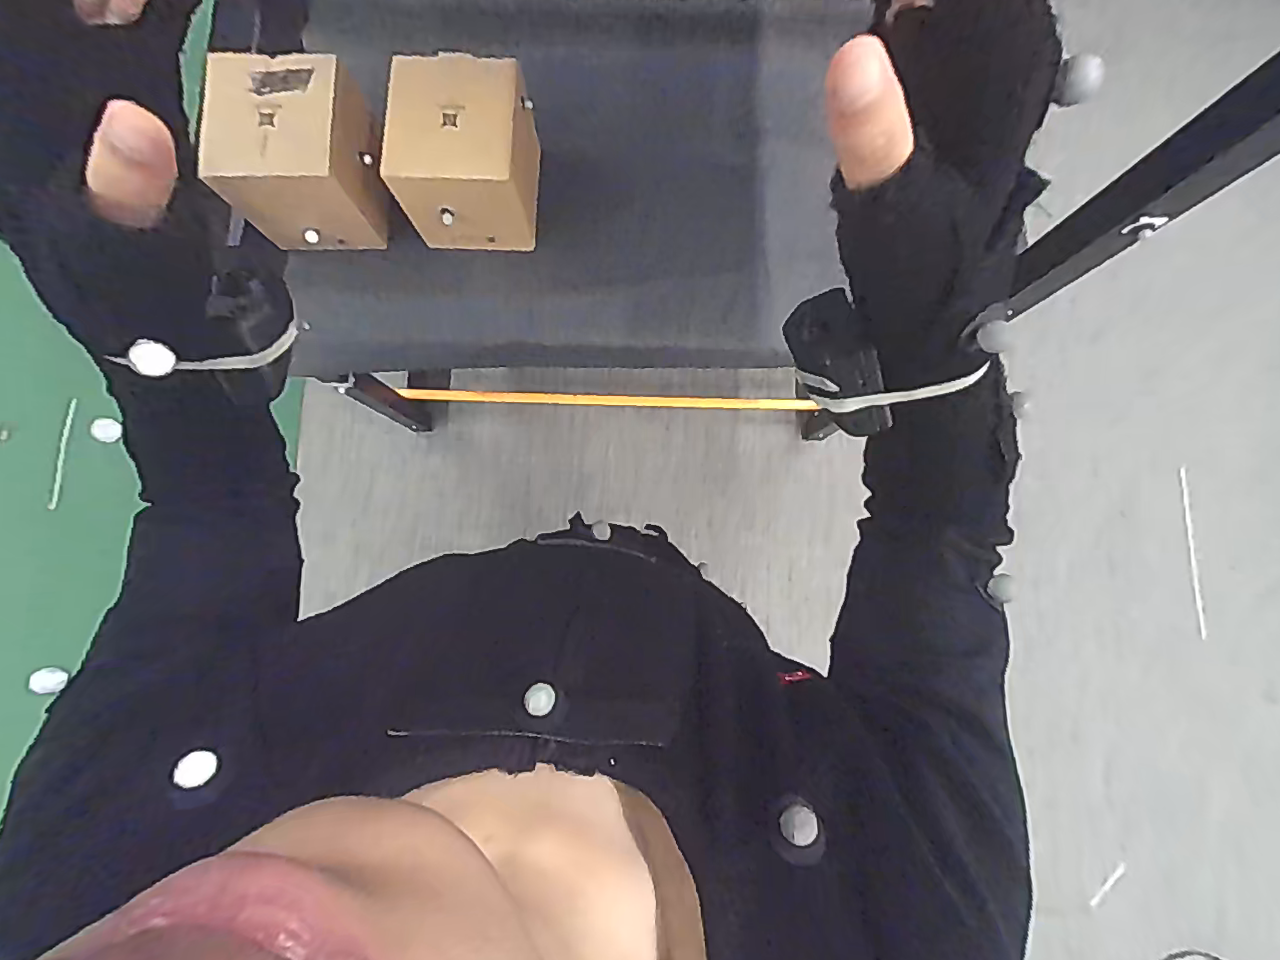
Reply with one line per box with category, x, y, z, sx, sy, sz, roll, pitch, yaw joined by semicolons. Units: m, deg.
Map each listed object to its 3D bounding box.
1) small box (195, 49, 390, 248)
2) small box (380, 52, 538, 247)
small box;-0.468;-0.453;0.758;0.168;0.176;0.179;-1;82;-1
small box;-0.241;-0.453;0.763;0.168;0.176;0.179;1;81;-1
